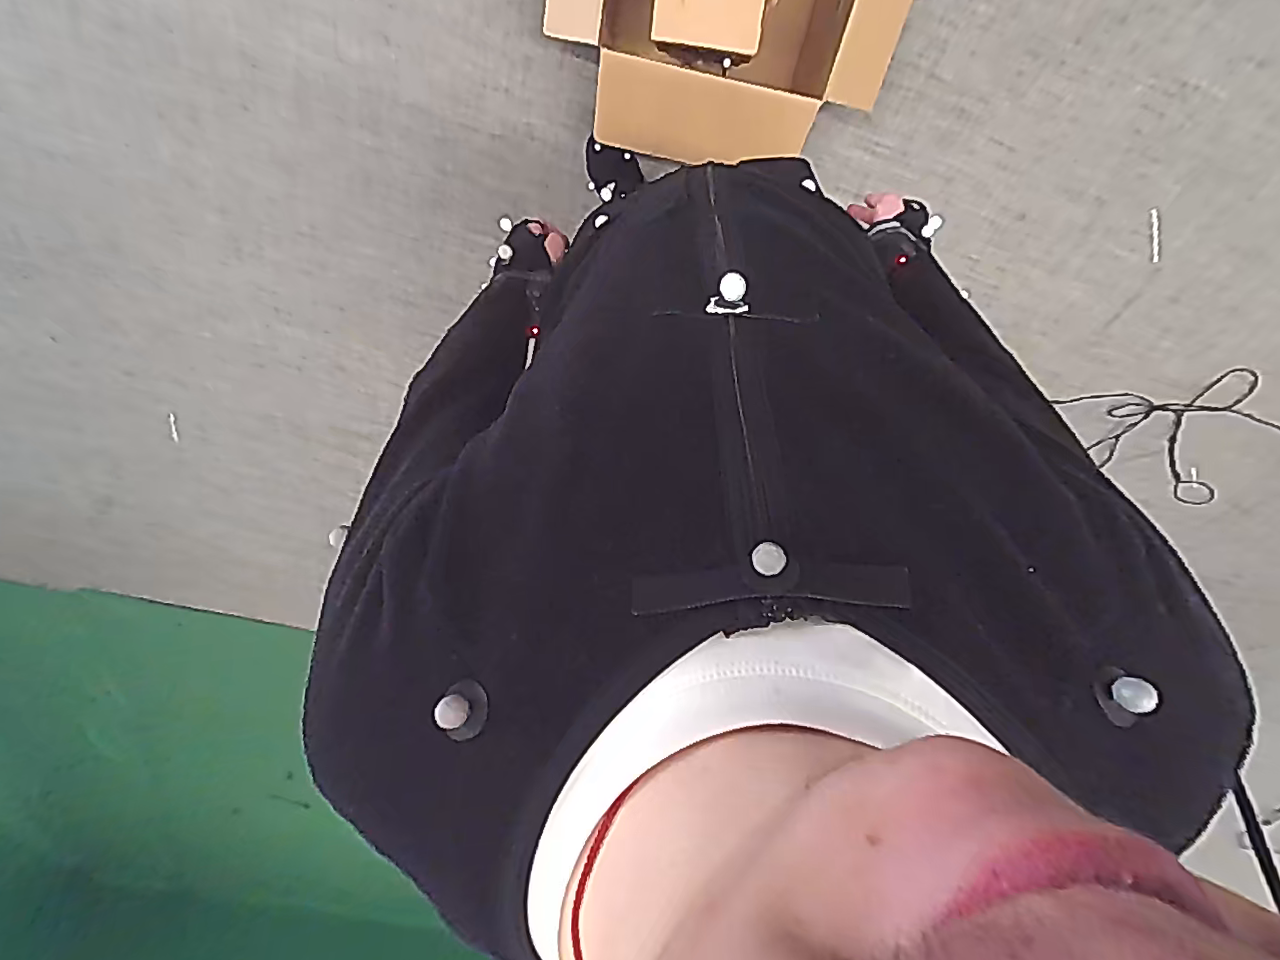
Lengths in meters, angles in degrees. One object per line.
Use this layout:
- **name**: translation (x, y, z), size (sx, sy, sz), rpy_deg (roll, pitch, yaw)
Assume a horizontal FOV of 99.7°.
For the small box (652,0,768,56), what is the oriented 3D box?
- **small box**: translation (0.123, -0.817, 0.888), size (0.179, 0.176, 0.168), rpy_deg (10, 123, 1)
